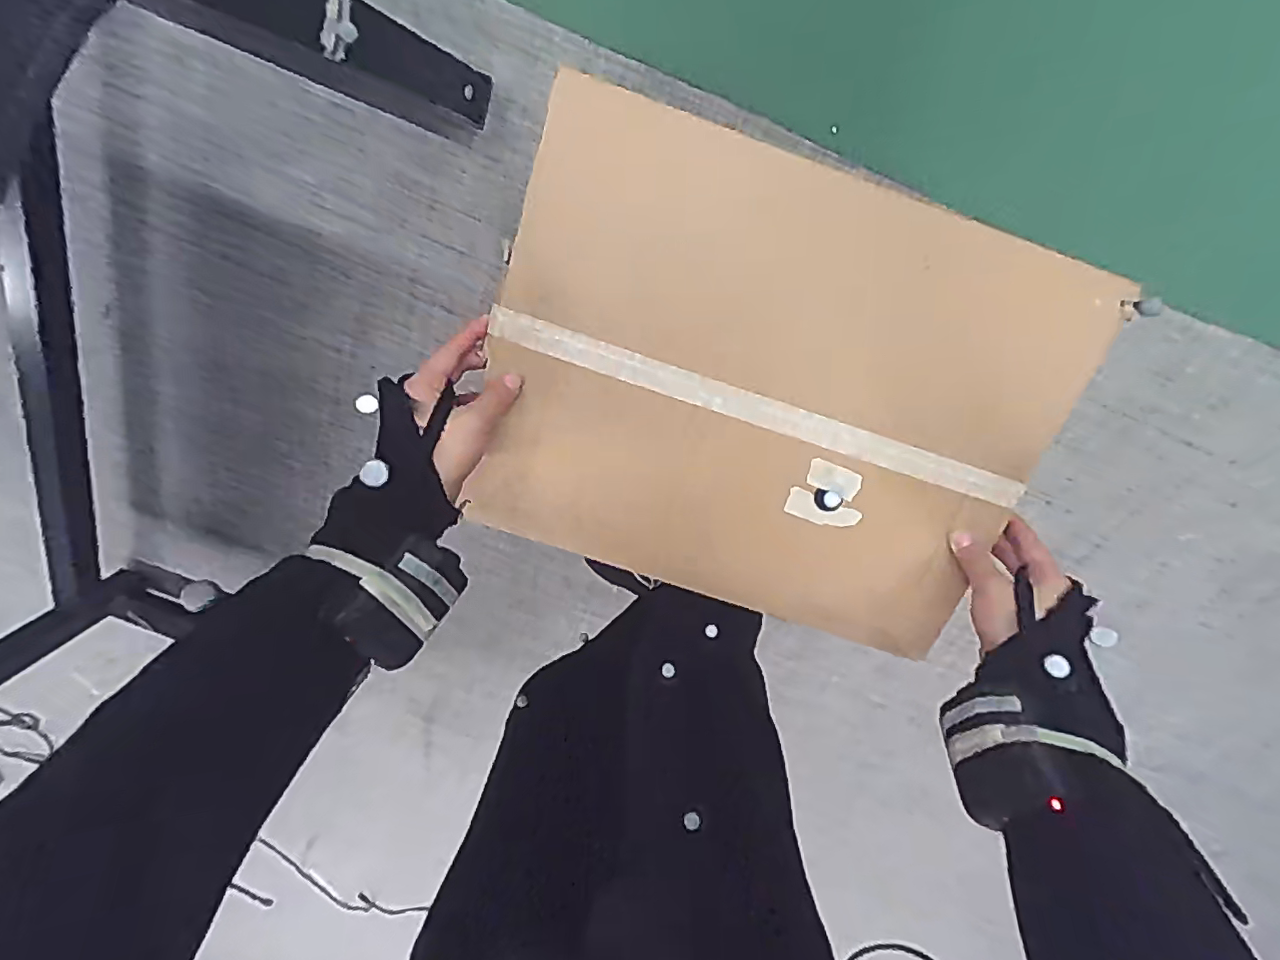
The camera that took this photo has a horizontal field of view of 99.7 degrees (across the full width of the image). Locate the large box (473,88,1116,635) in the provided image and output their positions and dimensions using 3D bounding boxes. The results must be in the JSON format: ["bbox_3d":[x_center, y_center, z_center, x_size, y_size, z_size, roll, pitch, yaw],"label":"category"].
[{"bbox_3d":[0.098,-0.104,0.542,0.408,0.320,0.320,17,108,-4],"label":"large box"}]
